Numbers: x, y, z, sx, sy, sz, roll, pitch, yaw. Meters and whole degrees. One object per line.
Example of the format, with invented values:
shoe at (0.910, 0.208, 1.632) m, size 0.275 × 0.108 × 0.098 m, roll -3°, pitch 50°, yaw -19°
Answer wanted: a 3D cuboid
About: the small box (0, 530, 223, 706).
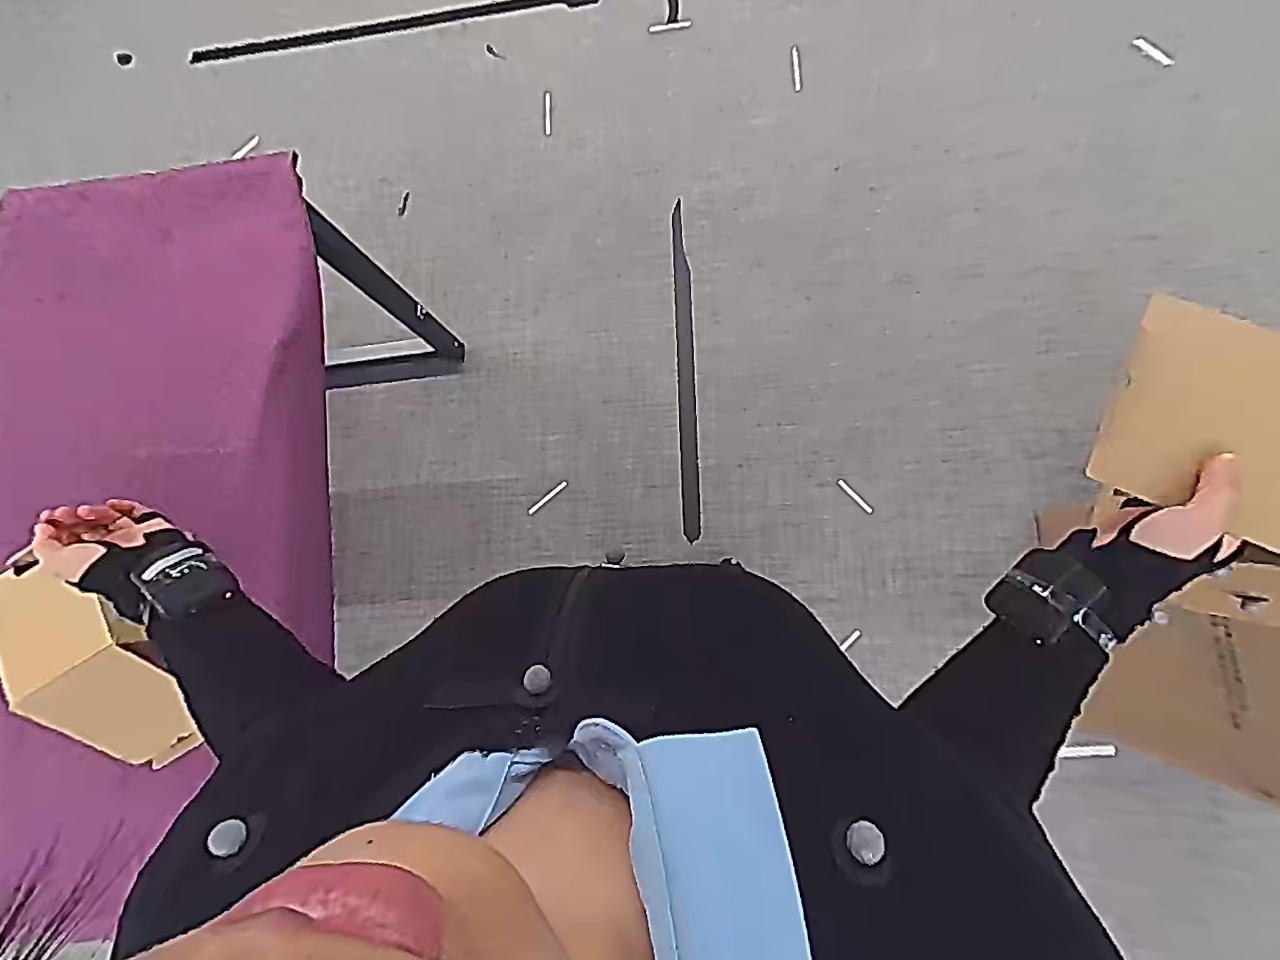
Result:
small box at (-0.758, 0.189, 0.781) m, size 0.168 × 0.176 × 0.179 m, roll -31°, pitch 78°, yaw 1°
